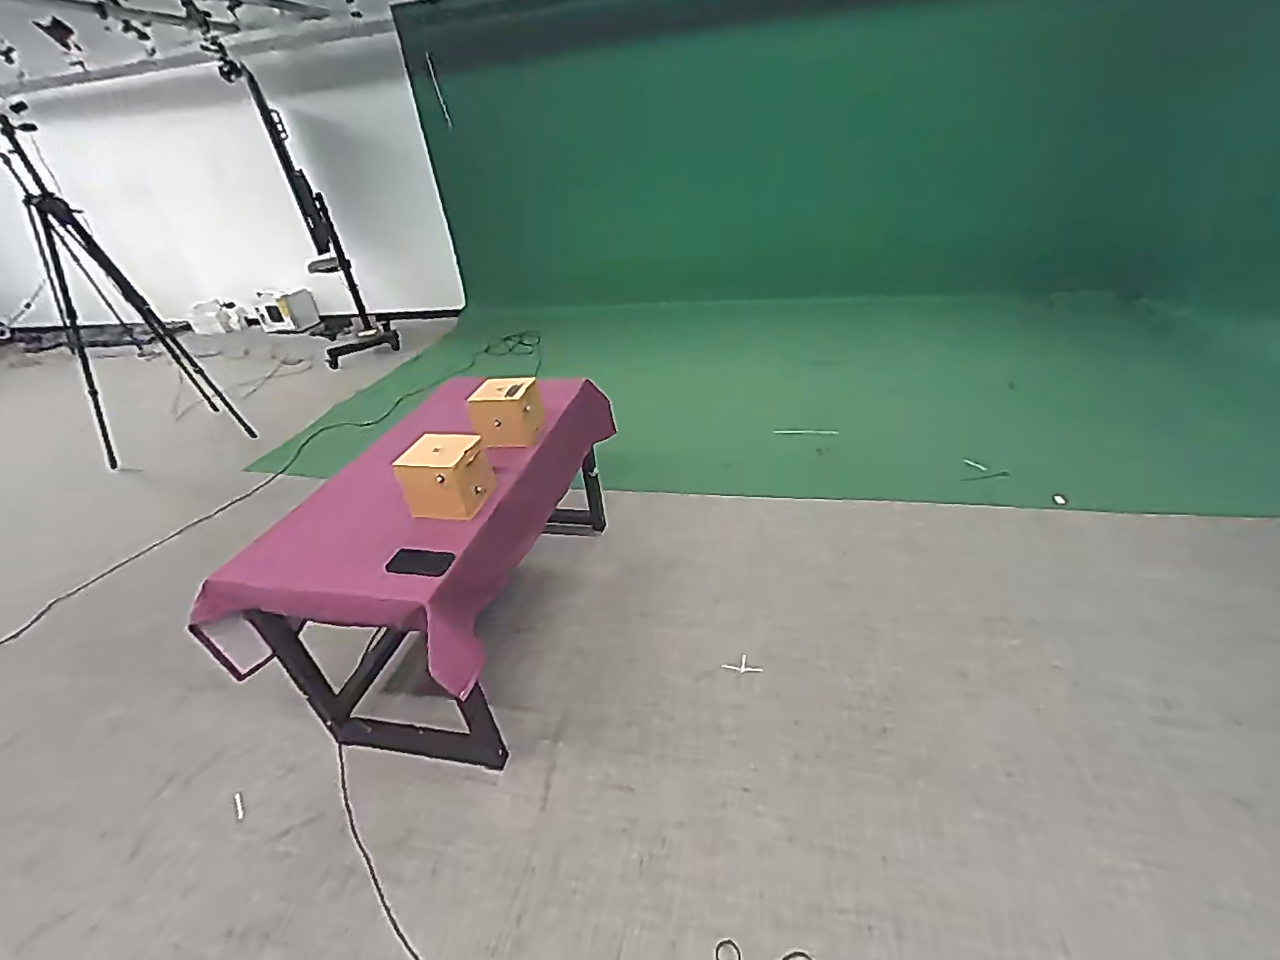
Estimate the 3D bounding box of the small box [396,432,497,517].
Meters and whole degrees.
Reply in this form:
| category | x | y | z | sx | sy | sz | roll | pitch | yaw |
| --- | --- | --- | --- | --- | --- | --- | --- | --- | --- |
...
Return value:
| category | x | y | z | sx | sy | sz | roll | pitch | yaw |
| --- | --- | --- | --- | --- | --- | --- | --- | --- | --- |
| small box | -0.508 | -0.015 | 1.447 | 0.179 | 0.176 | 0.168 | 3 | 34 | 13 |
